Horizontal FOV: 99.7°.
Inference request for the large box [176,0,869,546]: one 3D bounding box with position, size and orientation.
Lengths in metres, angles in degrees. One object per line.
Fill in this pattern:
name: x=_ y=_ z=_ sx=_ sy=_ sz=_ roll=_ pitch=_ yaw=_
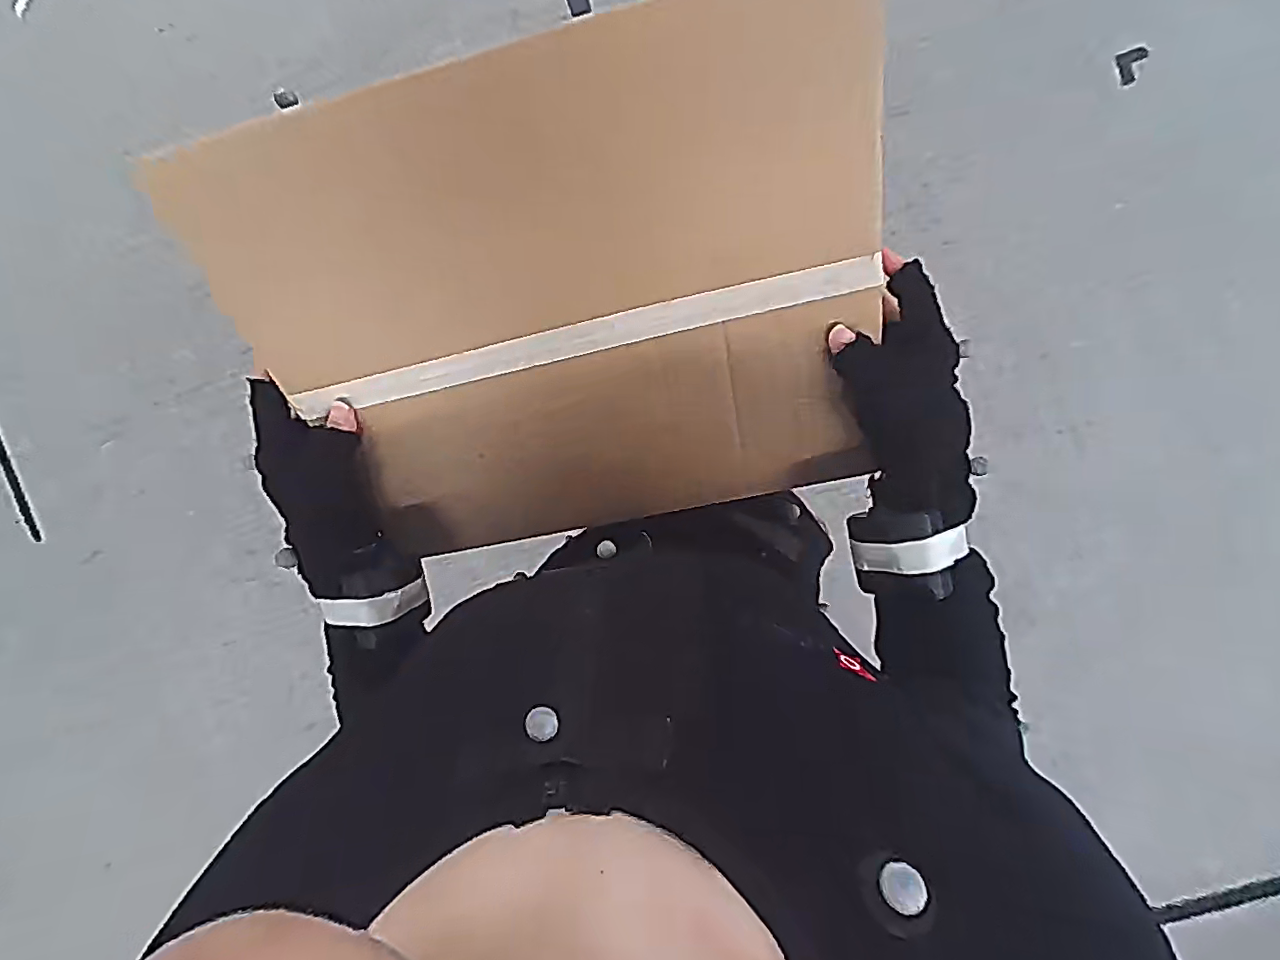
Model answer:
large box: x=-0.050 y=-0.185 z=0.493 sx=0.408 sy=0.320 sz=0.320 roll=-11 pitch=125 yaw=7
